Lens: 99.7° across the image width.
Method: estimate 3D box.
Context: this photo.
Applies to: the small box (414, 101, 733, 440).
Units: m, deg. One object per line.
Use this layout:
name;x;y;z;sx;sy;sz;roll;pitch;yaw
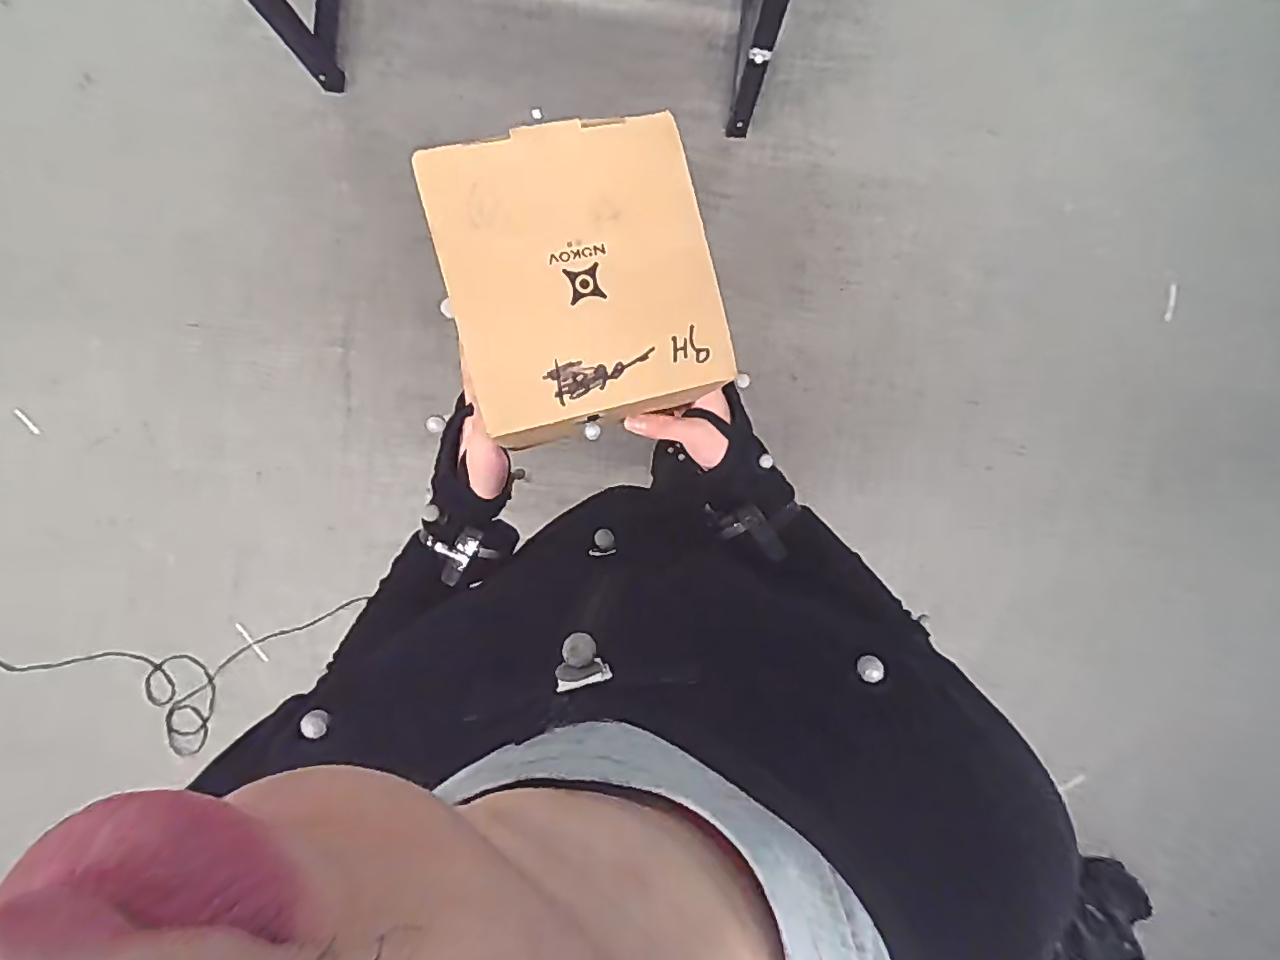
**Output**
small box;-0.049;-0.137;0.413;0.168;0.176;0.179;-15;92;-7
